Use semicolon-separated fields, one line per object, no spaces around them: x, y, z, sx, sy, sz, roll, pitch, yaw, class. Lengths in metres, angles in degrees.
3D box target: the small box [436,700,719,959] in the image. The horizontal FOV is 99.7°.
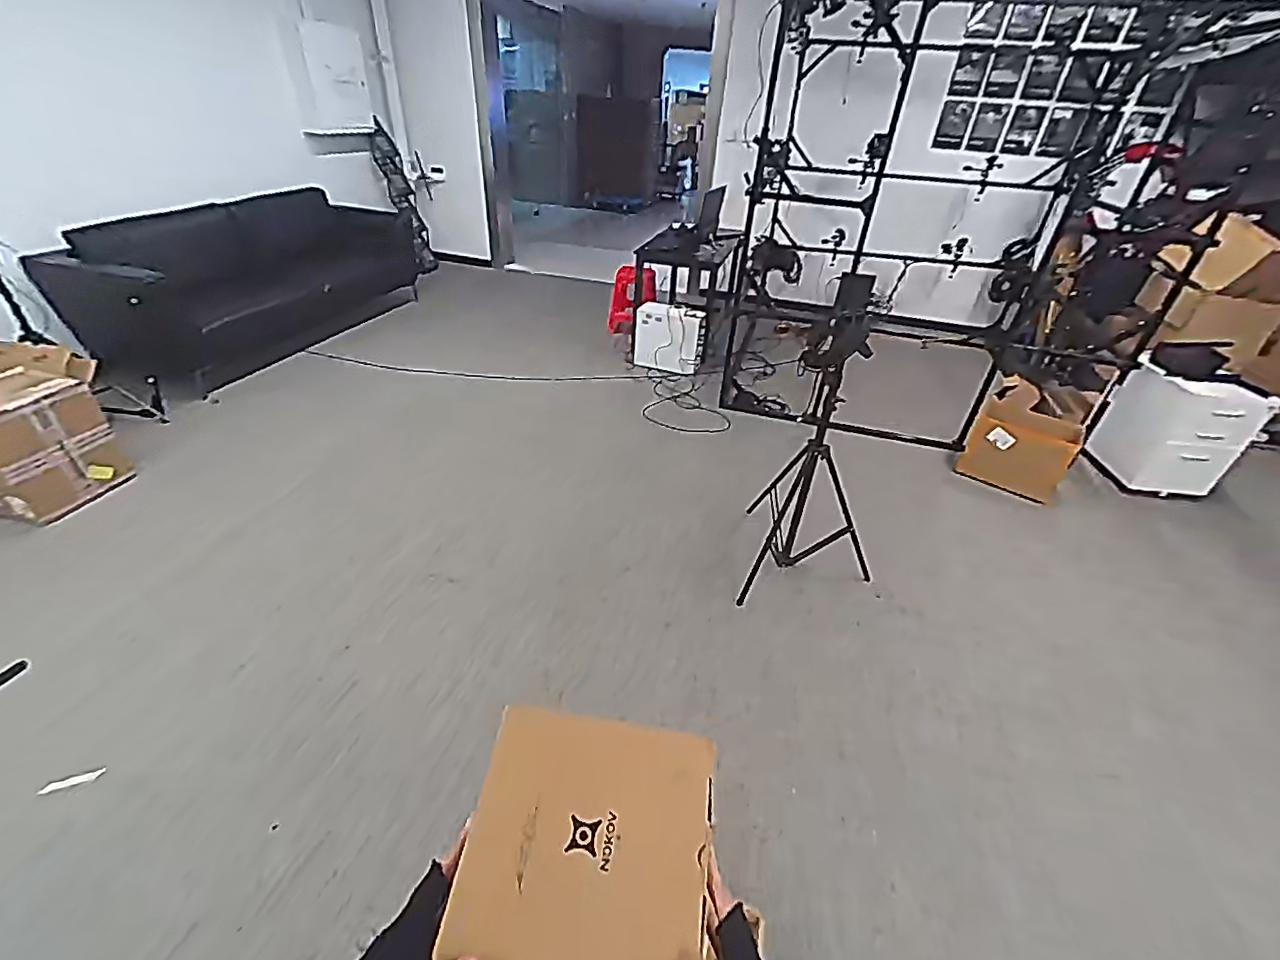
-0.035;0.303;0.446;0.179;0.176;0.168;6;48;4;small box
